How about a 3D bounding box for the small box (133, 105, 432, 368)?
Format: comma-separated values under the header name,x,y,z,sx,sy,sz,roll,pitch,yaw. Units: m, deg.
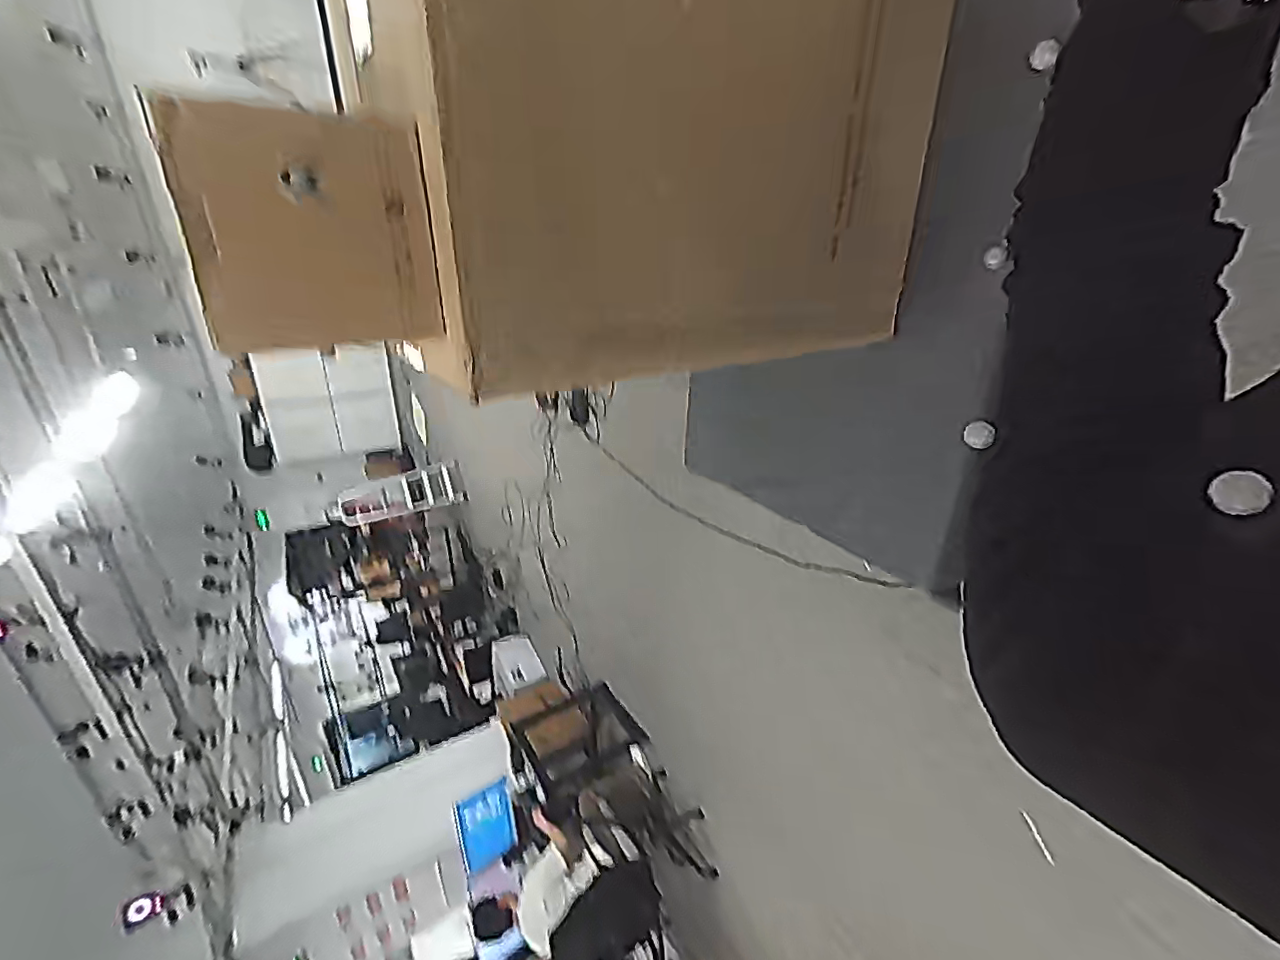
name,x,y,z,sx,sy,sz,roll,pitch,yaw
small box,-0.288,-0.199,0.465,0.179,0.176,0.168,27,124,49
